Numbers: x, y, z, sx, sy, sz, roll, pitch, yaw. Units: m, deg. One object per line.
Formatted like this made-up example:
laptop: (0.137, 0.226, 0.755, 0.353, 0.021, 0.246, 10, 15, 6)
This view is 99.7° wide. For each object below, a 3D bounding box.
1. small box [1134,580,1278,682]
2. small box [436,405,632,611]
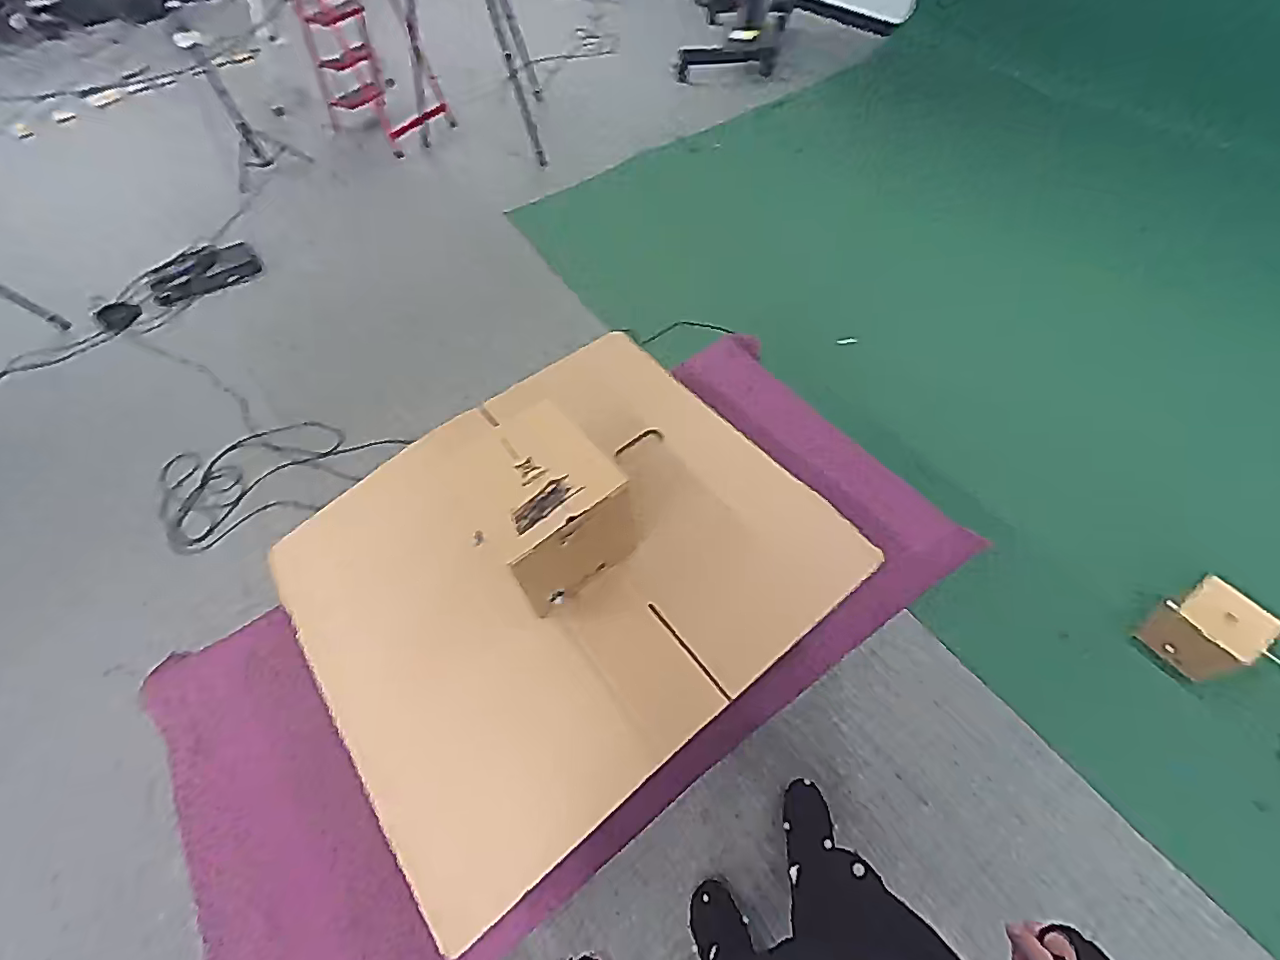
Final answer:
small box: (1.470, 0.399, 1.420, 0.179, 0.176, 0.168, -32, 60, -15)
small box: (-0.123, 0.045, 0.691, 0.168, 0.176, 0.179, -35, 60, -19)
